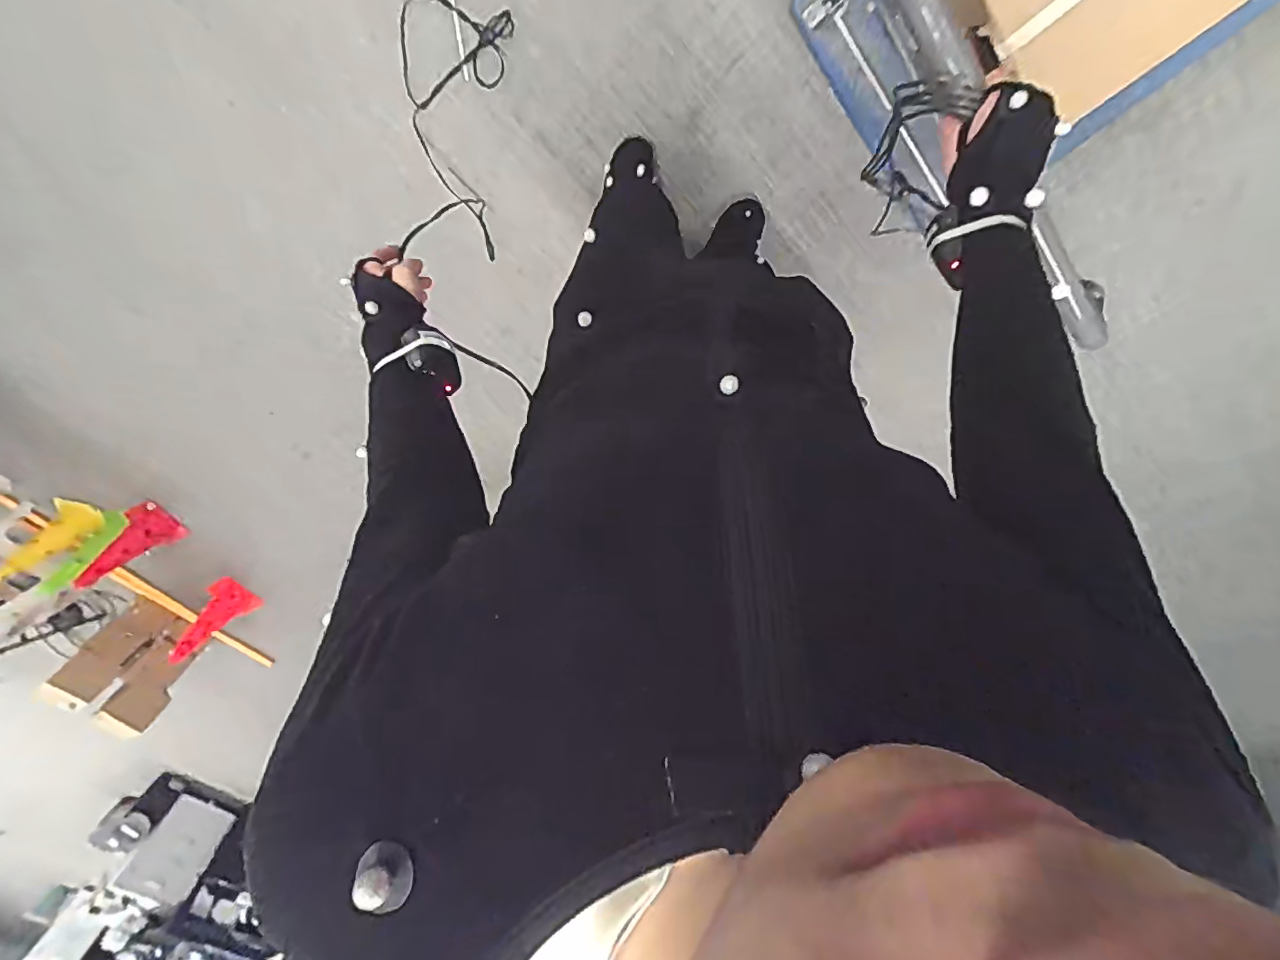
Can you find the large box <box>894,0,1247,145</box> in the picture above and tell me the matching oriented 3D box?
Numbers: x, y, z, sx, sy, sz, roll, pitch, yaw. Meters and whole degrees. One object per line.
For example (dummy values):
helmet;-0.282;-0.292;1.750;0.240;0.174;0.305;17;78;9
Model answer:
large box;0.673;-0.787;0.805;0.408;0.320;0.320;-34;115;26
